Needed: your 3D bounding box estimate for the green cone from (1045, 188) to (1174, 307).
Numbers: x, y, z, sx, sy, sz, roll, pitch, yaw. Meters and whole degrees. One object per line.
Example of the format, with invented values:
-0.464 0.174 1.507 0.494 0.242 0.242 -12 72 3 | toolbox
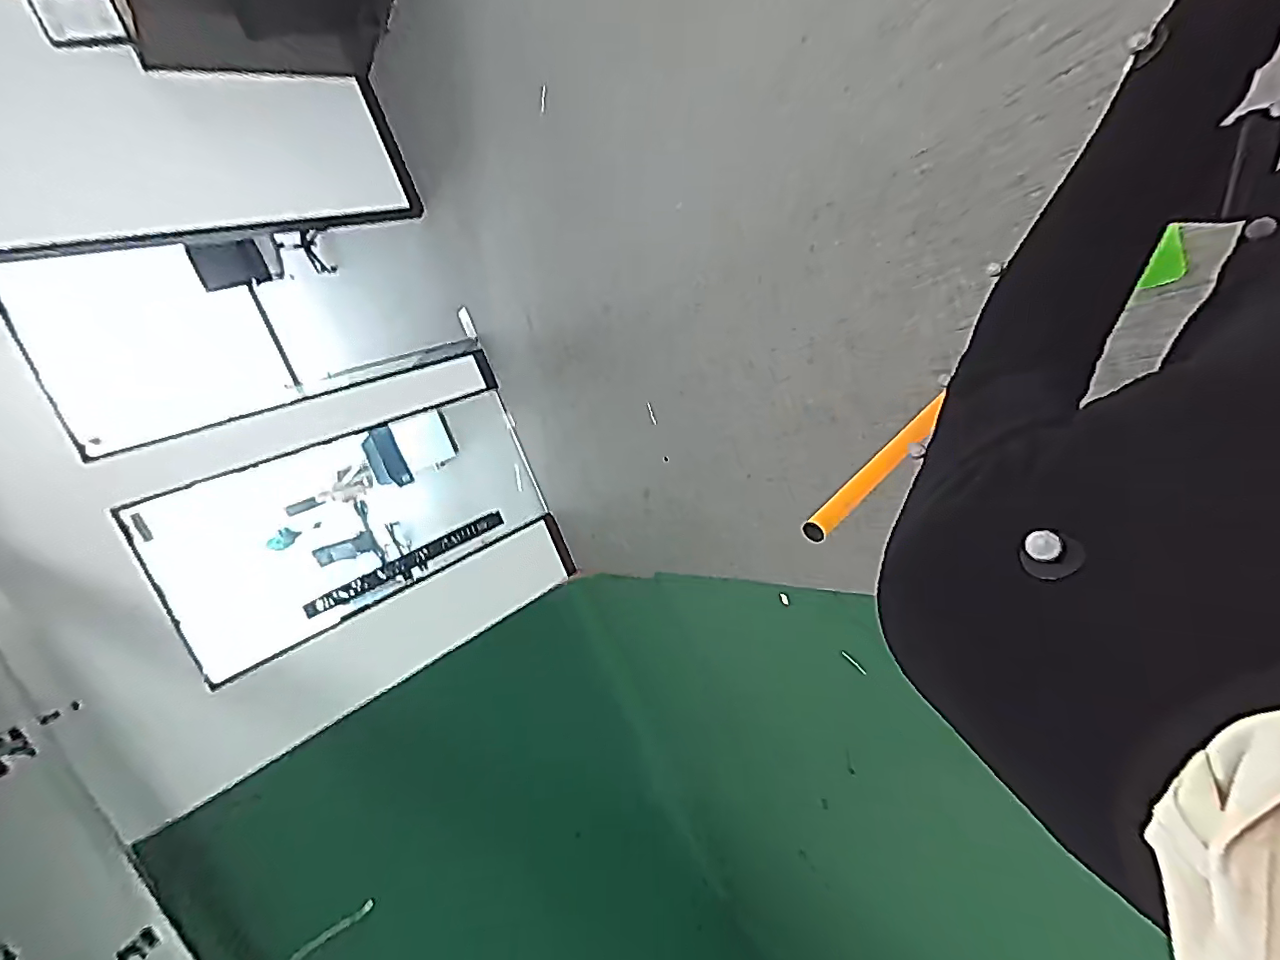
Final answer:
0.911 -0.438 1.093 0.202 0.368 0.200 -8 107 52 | green cone
